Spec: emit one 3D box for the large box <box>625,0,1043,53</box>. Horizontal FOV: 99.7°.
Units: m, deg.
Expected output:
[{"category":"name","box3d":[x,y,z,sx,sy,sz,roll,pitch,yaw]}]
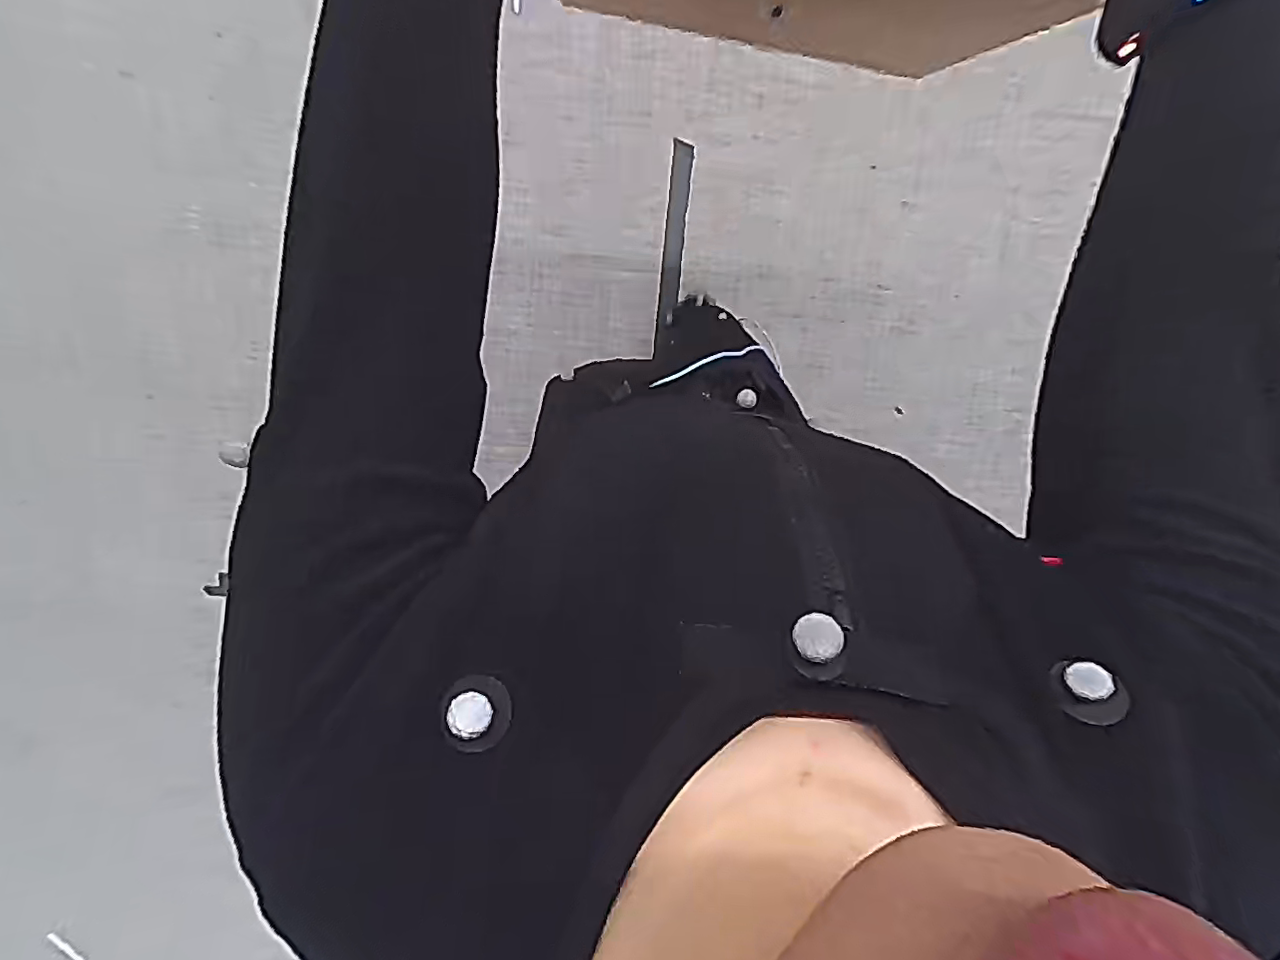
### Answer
[{"category":"large box","box3d":[0.145,-0.554,0.388,0.408,0.320,0.320,8,118,-5]}]
